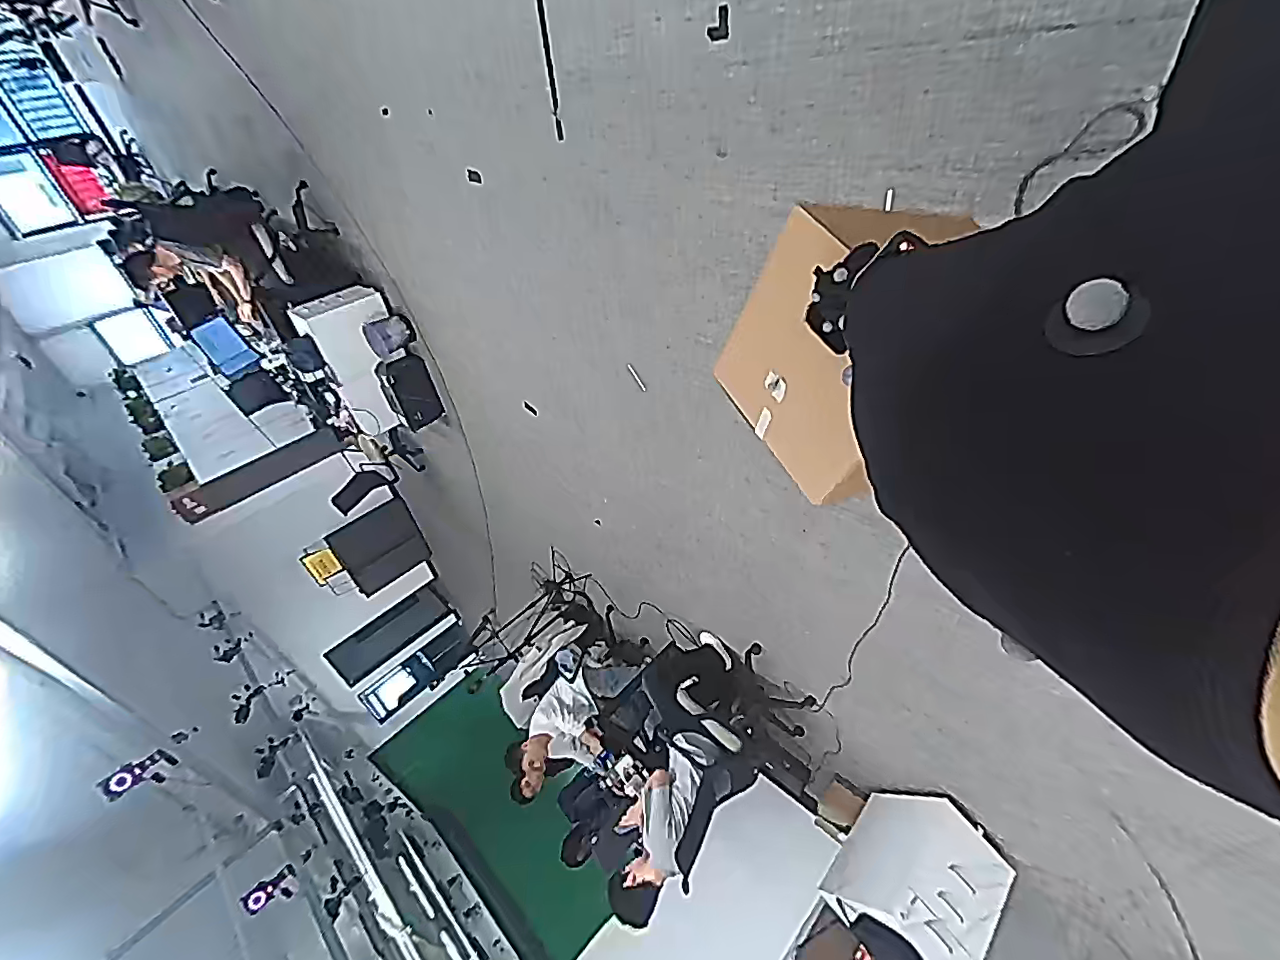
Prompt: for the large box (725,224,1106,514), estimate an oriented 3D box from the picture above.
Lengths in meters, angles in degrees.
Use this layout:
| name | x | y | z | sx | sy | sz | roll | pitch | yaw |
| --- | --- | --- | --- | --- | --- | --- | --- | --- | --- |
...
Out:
| name | x | y | z | sx | sy | sz | roll | pitch | yaw |
| --- | --- | --- | --- | --- | --- | --- | --- | --- | --- |
| large box | 0.421 | -0.184 | 0.888 | 0.320 | 0.408 | 0.320 | 61 | 145 | 29 |
